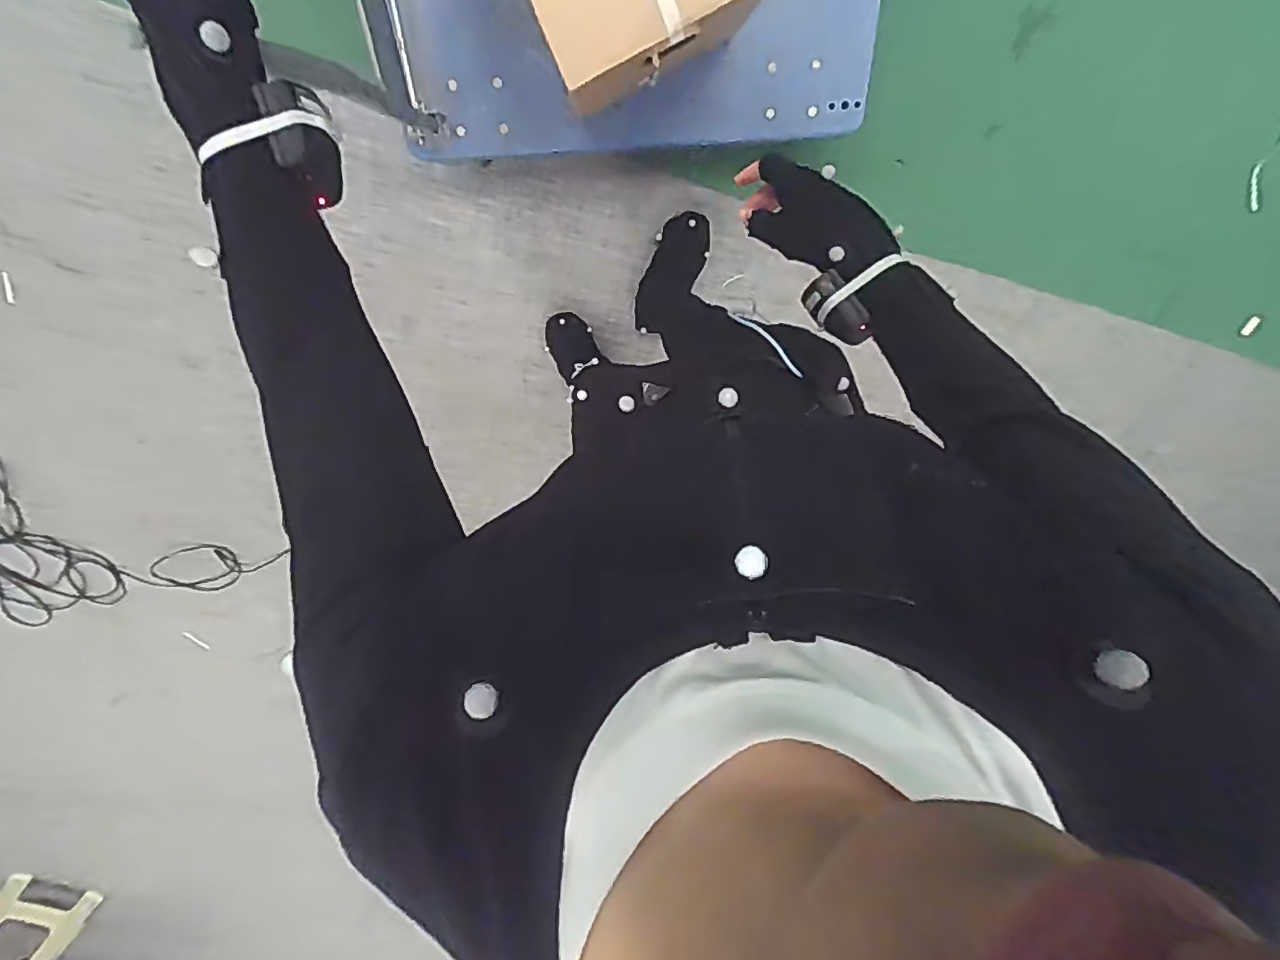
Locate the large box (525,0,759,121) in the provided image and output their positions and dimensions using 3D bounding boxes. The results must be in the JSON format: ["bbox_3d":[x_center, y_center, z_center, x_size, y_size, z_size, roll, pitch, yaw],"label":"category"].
[{"bbox_3d":[-0.044,-0.818,0.773,0.320,0.320,0.408,-23,115,9],"label":"large box"}]
